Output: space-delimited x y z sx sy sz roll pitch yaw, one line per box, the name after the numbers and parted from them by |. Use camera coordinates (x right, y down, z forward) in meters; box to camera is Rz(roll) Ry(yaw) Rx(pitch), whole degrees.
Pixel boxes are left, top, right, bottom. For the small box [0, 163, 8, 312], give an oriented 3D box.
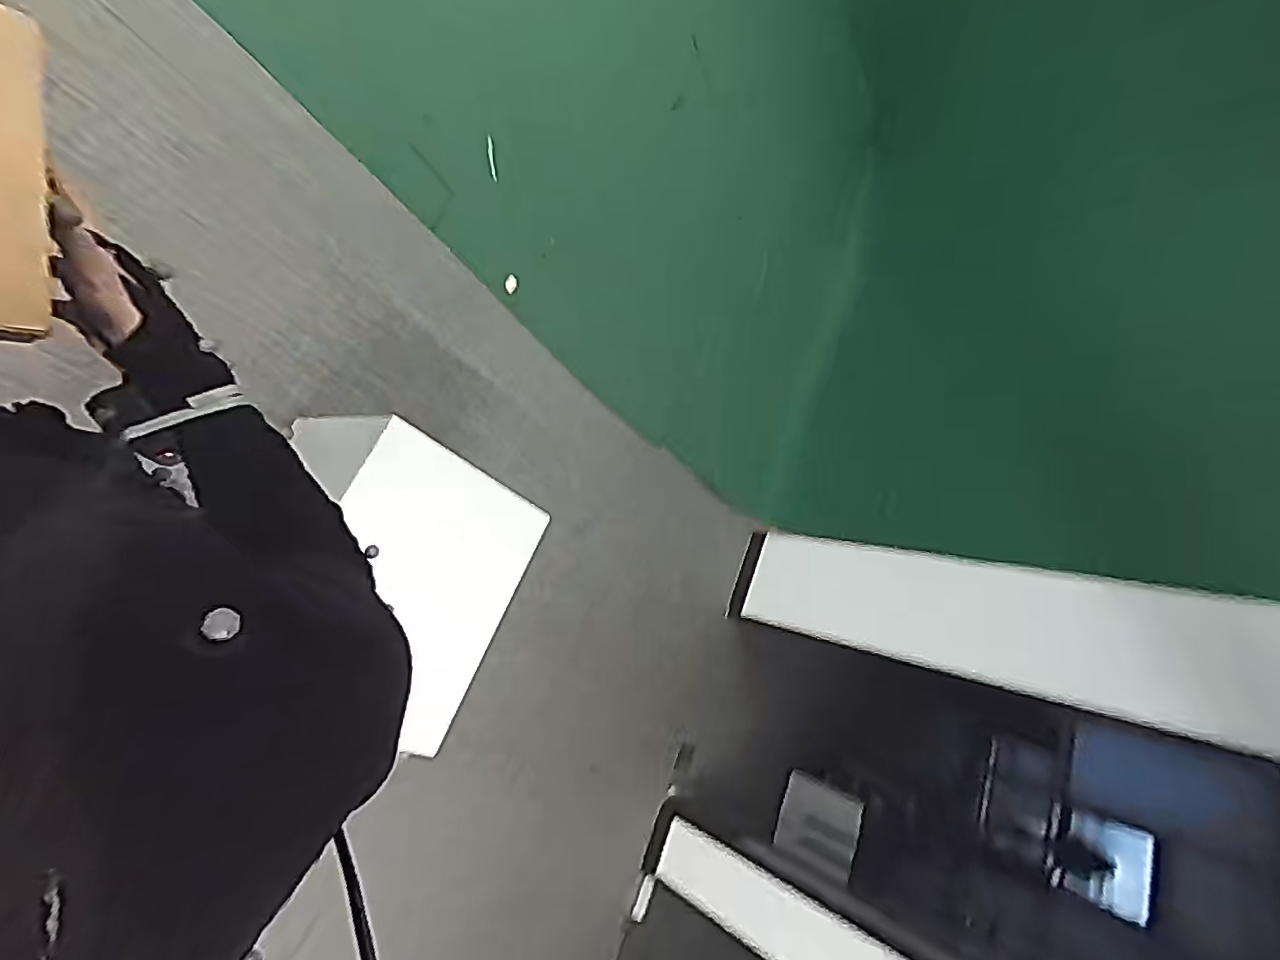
-0.457 -0.186 0.275 0.168 0.176 0.179 -5 102 -51 | small box
